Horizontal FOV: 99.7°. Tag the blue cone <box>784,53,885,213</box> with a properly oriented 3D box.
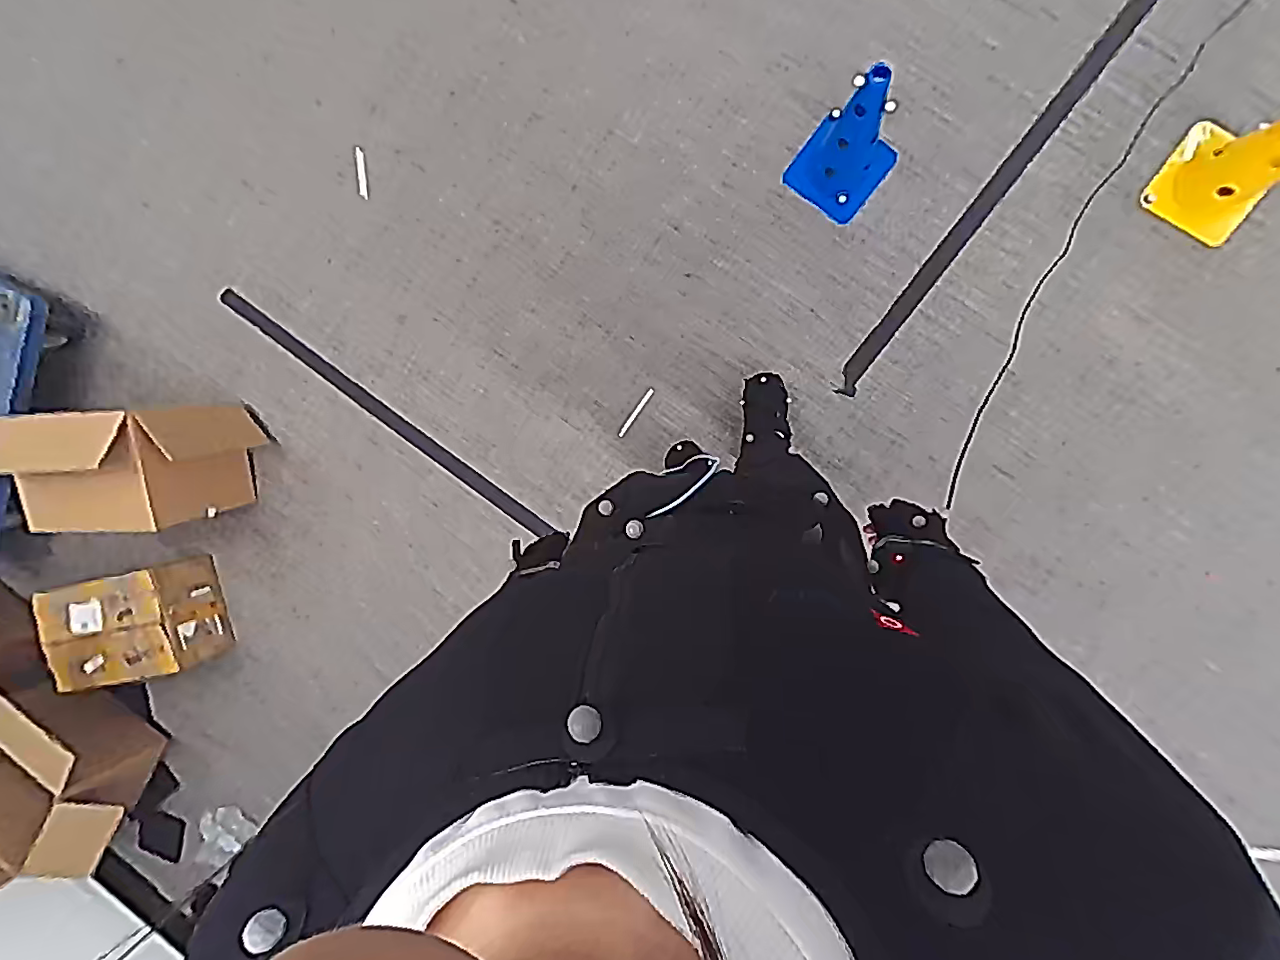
[{"bbox_3d":[0.435,-0.743,1.130,0.192,0.380,0.193,41,100,4],"label":"blue cone"}]
